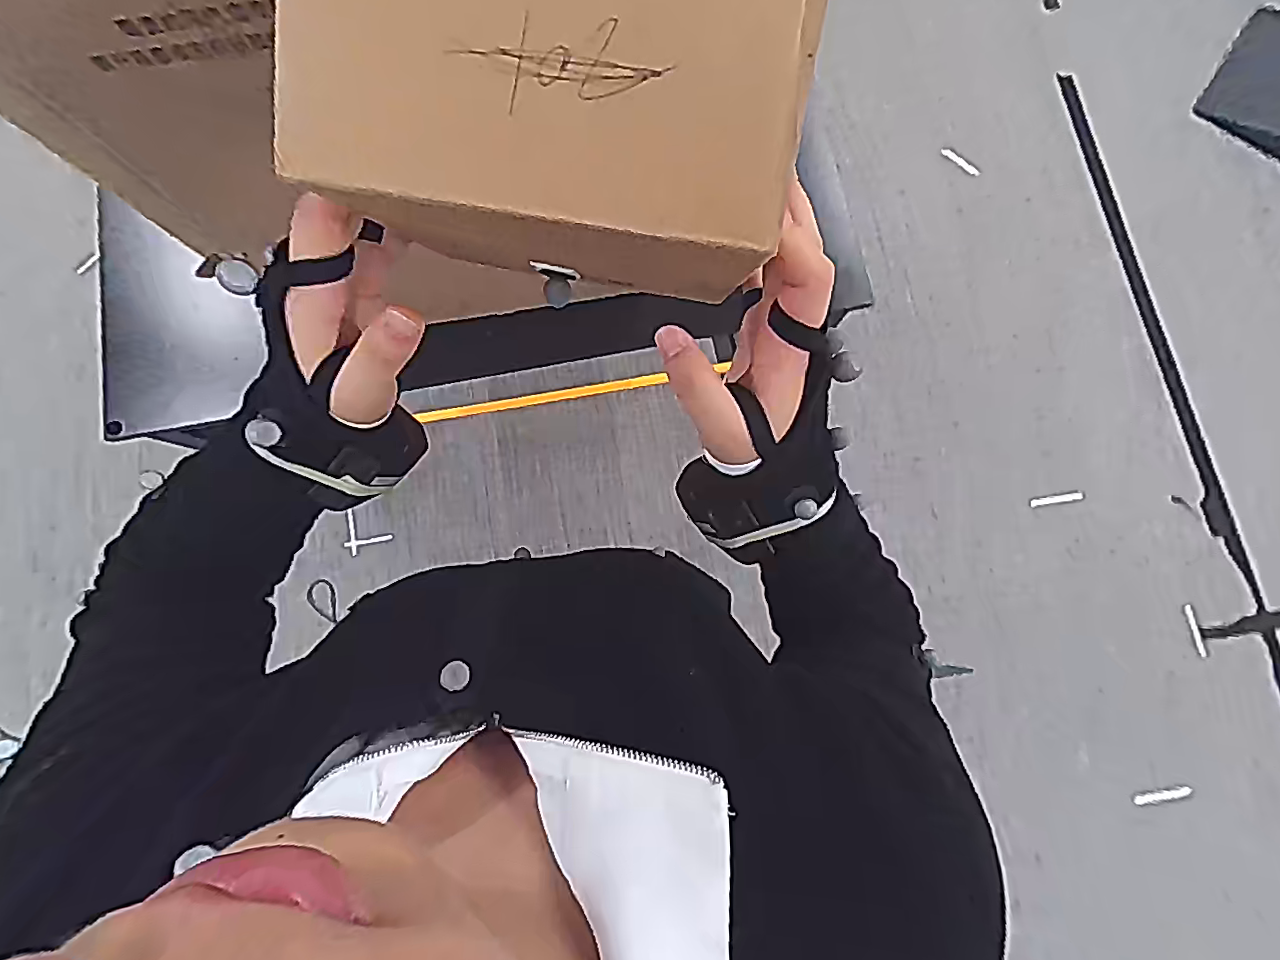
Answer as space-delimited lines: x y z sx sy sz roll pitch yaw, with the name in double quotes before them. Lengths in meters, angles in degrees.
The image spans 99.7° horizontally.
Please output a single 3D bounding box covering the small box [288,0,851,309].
"small box" -0.015 -0.182 0.233 0.168 0.176 0.179 9 103 1
